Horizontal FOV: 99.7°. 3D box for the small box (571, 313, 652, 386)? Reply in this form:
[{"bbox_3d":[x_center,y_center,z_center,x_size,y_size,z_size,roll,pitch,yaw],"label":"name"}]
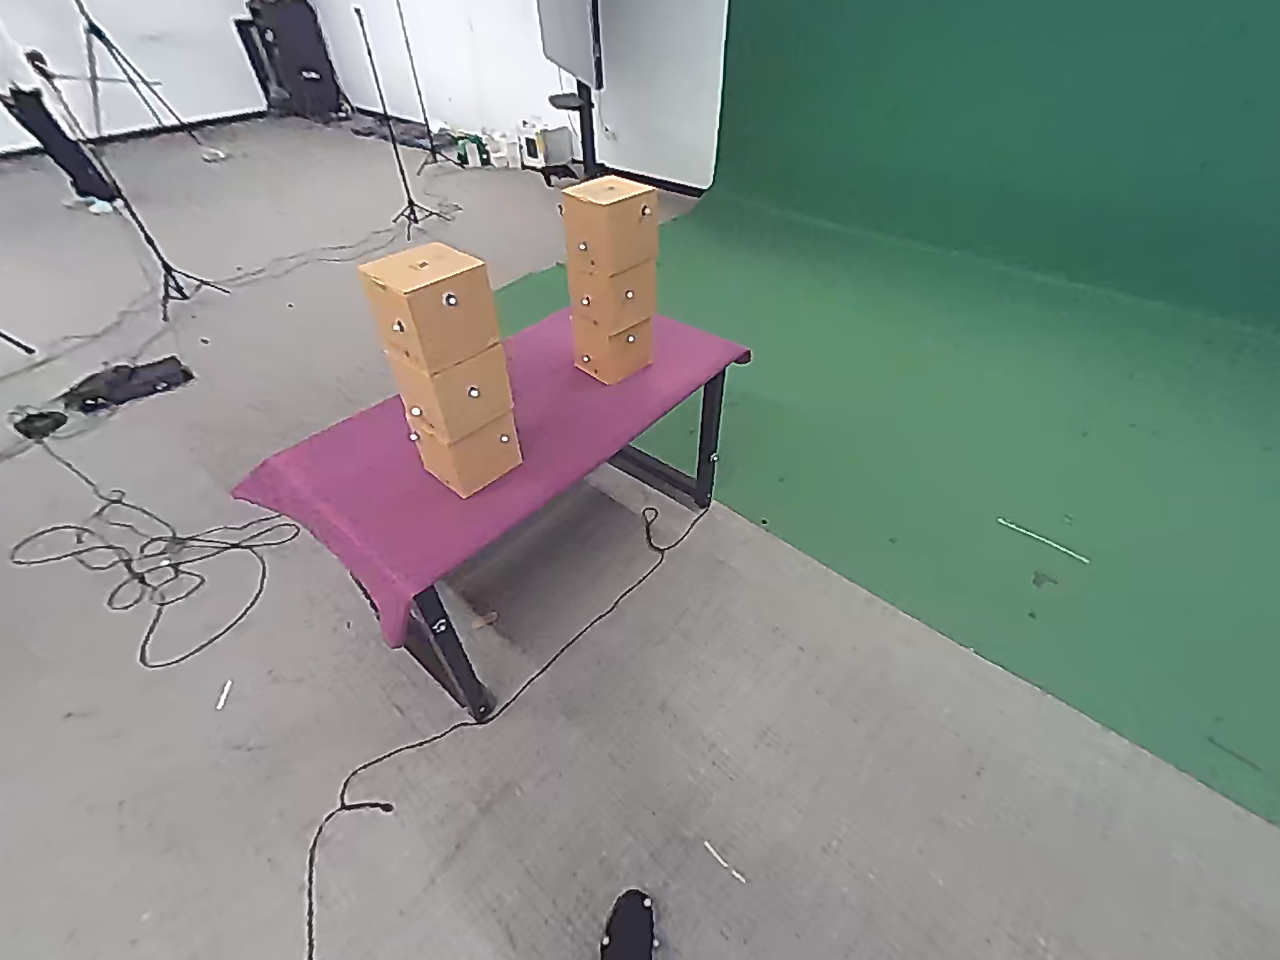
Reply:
[{"bbox_3d":[-0.085,-0.408,1.600,0.179,0.176,0.168,-35,54,-30],"label":"small box"}]

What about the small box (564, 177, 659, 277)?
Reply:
[{"bbox_3d":[-0.070,-0.639,1.366,0.179,0.176,0.168,-35,54,-29],"label":"small box"}]

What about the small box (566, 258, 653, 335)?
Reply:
[{"bbox_3d":[-0.076,-0.521,1.480,0.179,0.176,0.168,-35,55,-29],"label":"small box"}]

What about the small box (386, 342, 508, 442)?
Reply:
[{"bbox_3d":[-0.399,-0.213,1.156,0.168,0.176,0.179,31,52,28],"label":"small box"}]

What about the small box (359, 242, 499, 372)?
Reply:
[{"bbox_3d":[-0.398,-0.334,1.046,0.168,0.176,0.179,32,51,28],"label":"small box"}]
